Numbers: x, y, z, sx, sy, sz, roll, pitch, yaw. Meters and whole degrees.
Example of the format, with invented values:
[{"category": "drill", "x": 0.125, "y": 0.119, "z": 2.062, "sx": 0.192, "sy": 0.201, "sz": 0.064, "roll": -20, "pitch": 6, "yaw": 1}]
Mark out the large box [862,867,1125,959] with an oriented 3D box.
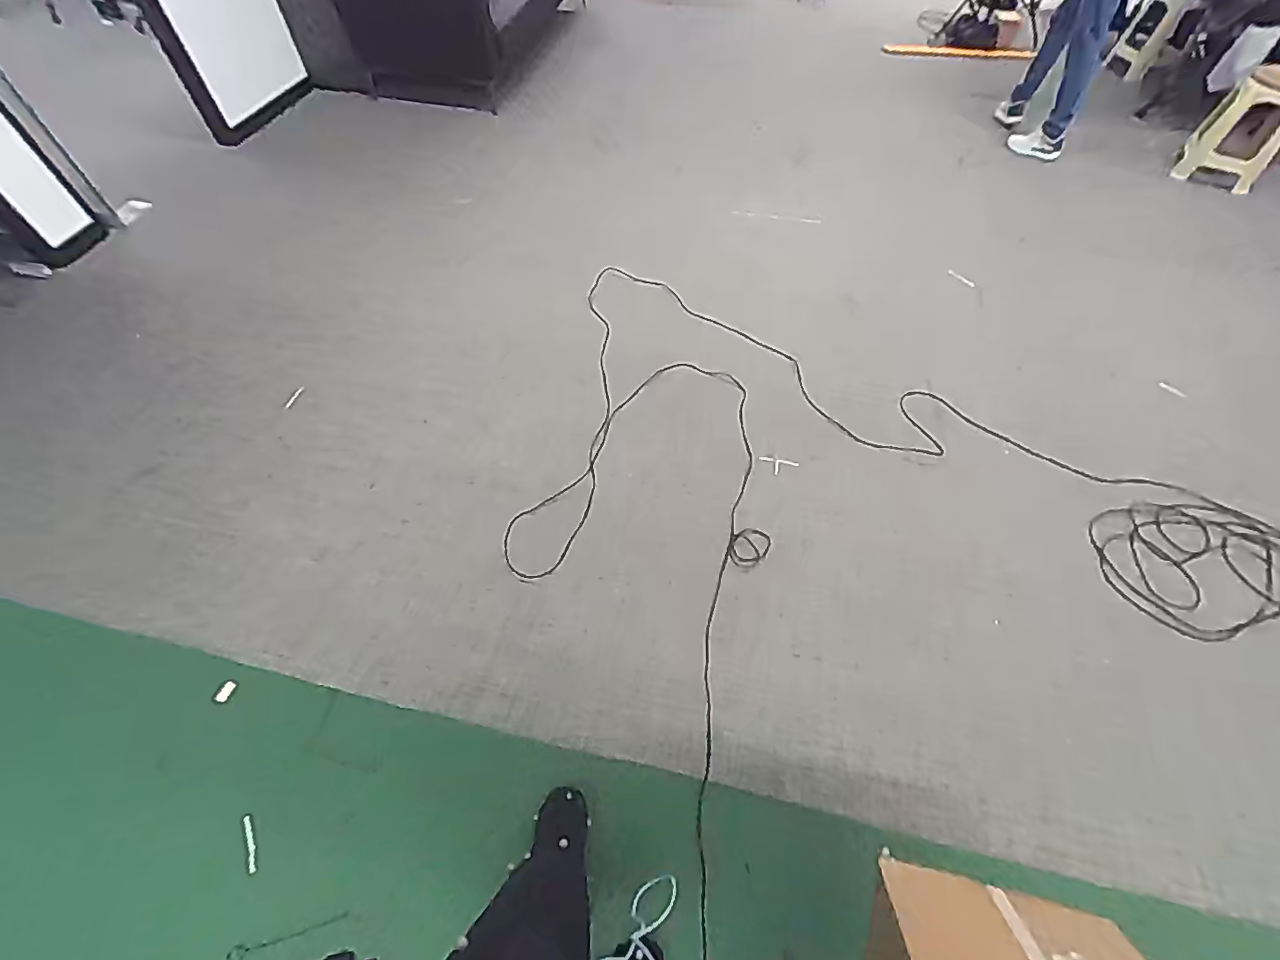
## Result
[{"category": "large box", "x": 0.440, "y": 0.748, "z": 0.596, "sx": 0.320, "sy": 0.408, "sz": 0.320, "roll": 9, "pitch": 89, "yaw": 13}]
